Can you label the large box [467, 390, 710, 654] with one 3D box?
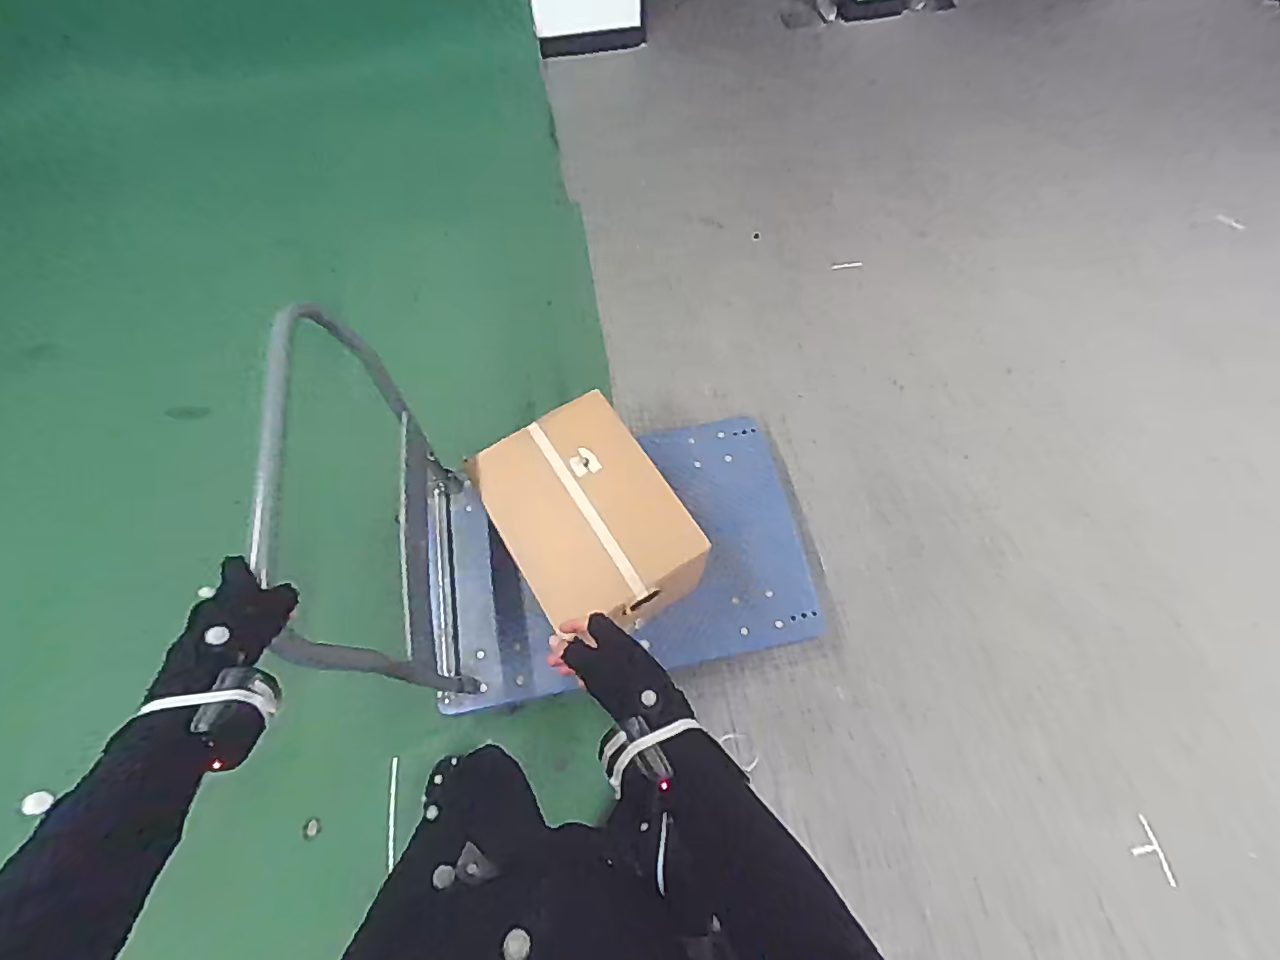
[{"bbox_3d":[-0.098,0.100,1.145,0.320,0.320,0.408,-30,68,-12],"label":"large box"}]
